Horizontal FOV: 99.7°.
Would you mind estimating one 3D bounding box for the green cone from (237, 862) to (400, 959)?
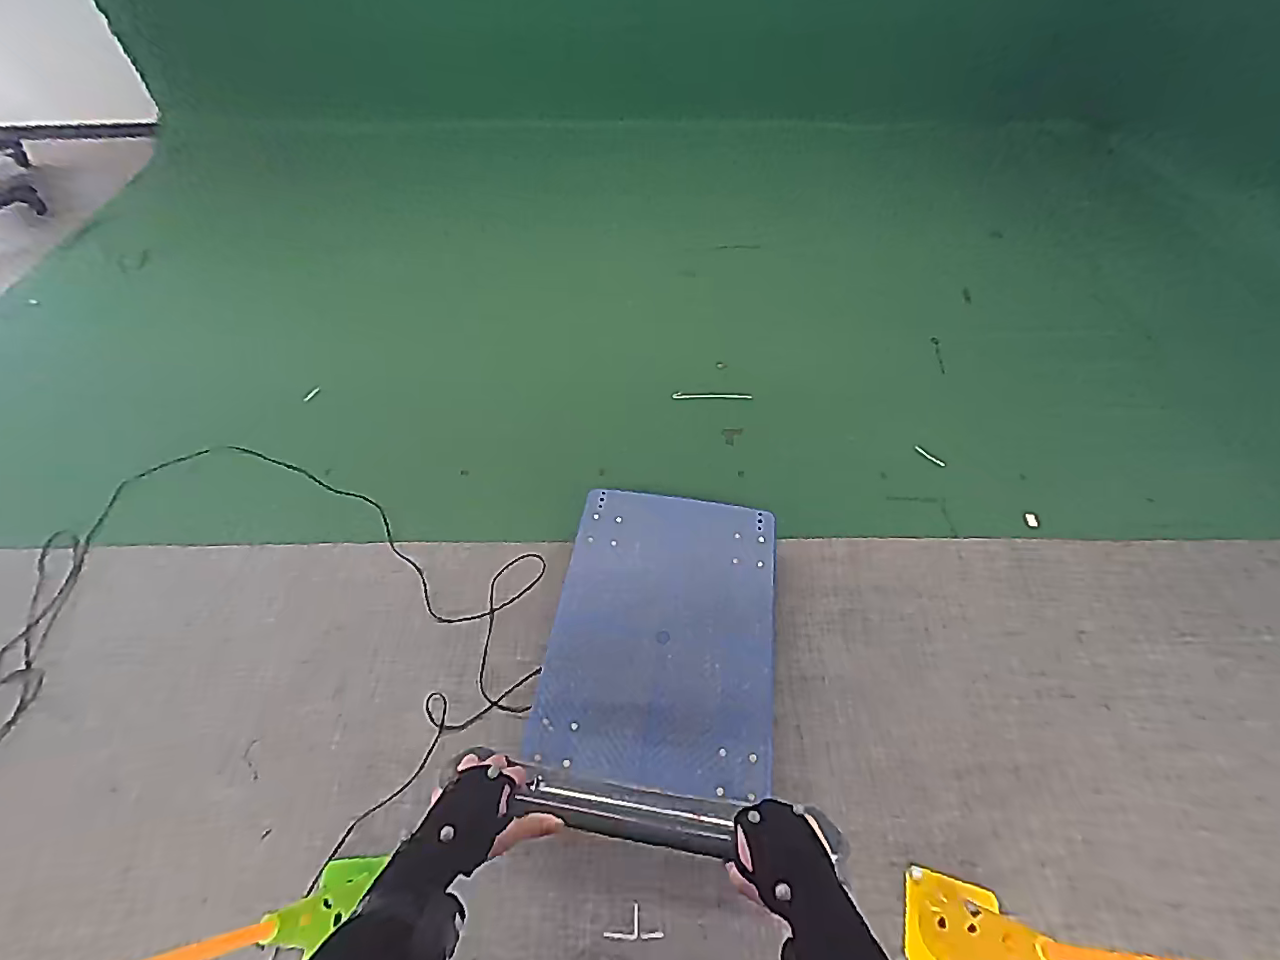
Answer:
[{"bbox_3d":[-0.653,0.876,1.063,0.202,0.368,0.200,-5,54,-1],"label":"green cone"}]
